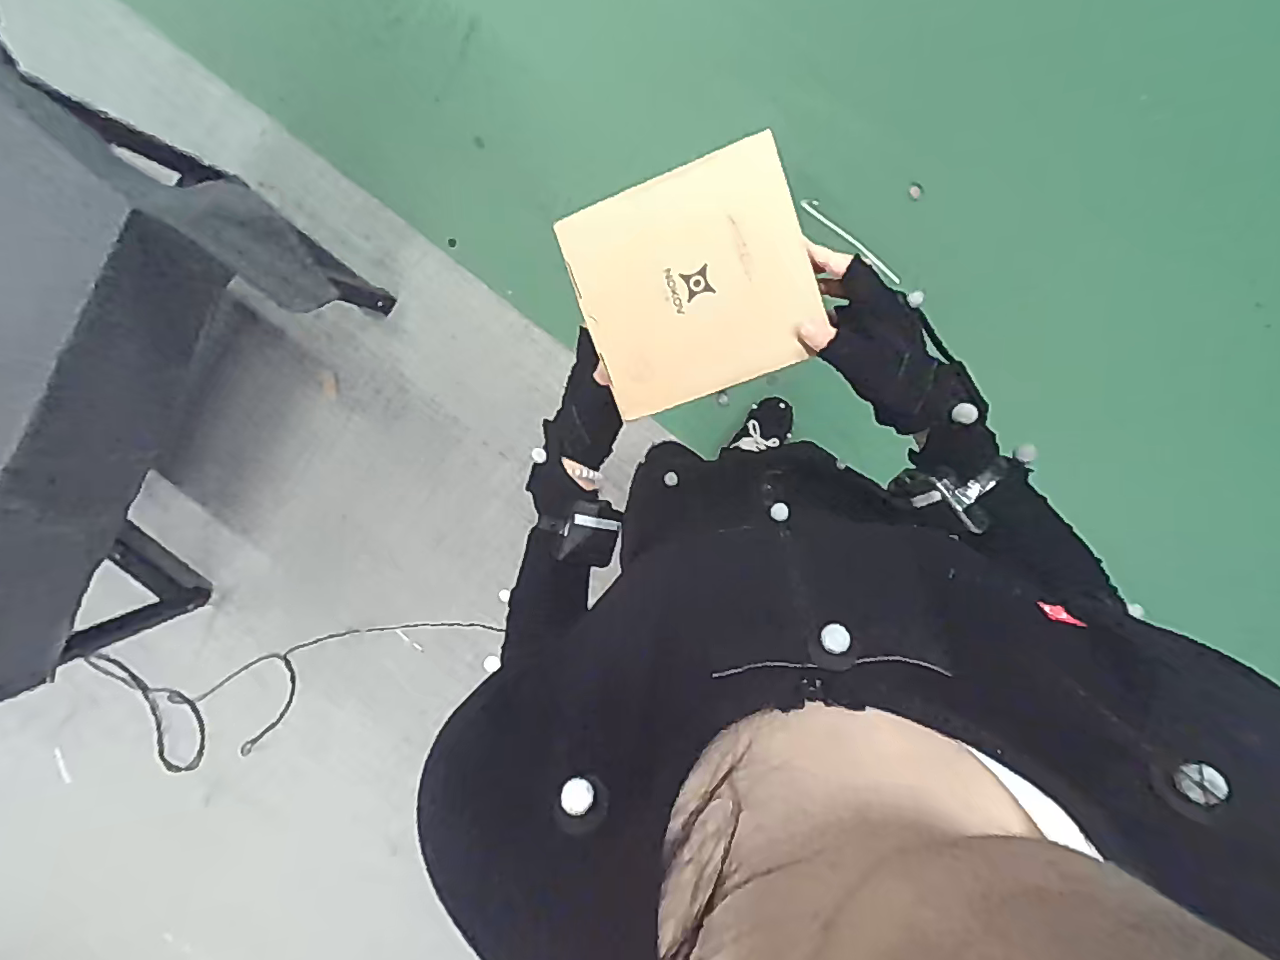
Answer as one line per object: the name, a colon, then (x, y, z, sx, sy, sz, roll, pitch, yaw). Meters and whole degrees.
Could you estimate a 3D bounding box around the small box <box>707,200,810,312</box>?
small box: (0.280, -0.531, 1.314, 0.179, 0.176, 0.168, 42, 99, 1)
